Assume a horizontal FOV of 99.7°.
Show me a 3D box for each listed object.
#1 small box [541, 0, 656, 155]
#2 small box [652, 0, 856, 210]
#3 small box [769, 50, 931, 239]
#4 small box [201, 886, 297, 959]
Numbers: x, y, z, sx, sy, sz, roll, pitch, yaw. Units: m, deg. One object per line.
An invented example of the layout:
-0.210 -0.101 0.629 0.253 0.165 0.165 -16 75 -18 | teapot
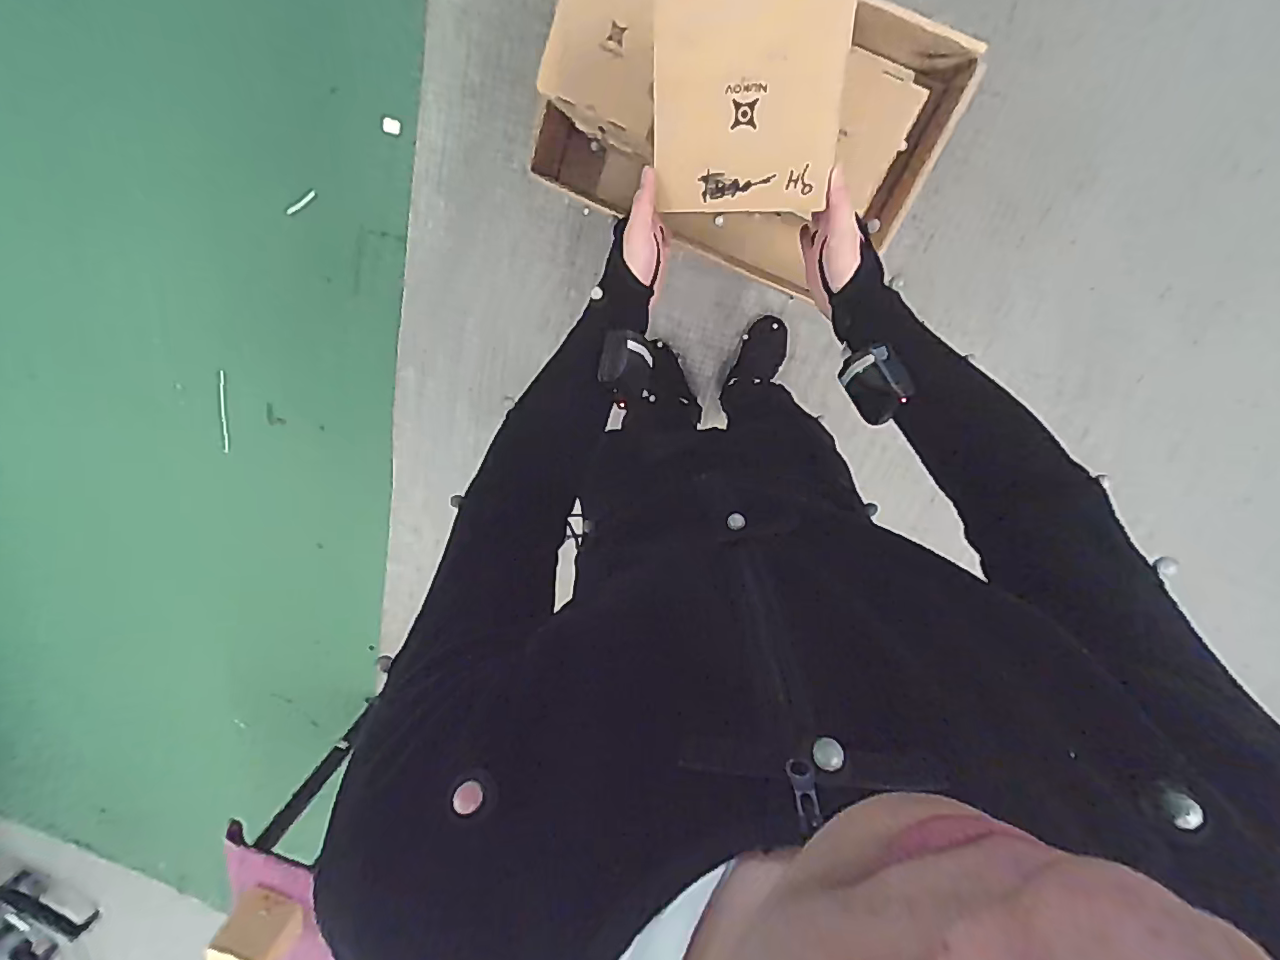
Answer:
-0.011 -0.584 0.749 0.168 0.176 0.179 26 115 0 | small box
0.101 -0.371 0.542 0.168 0.176 0.179 3 119 6 | small box
0.253 -0.453 0.745 0.168 0.176 0.179 26 115 1 | small box
-1.152 1.360 1.604 0.168 0.176 0.179 19 115 2 | small box
